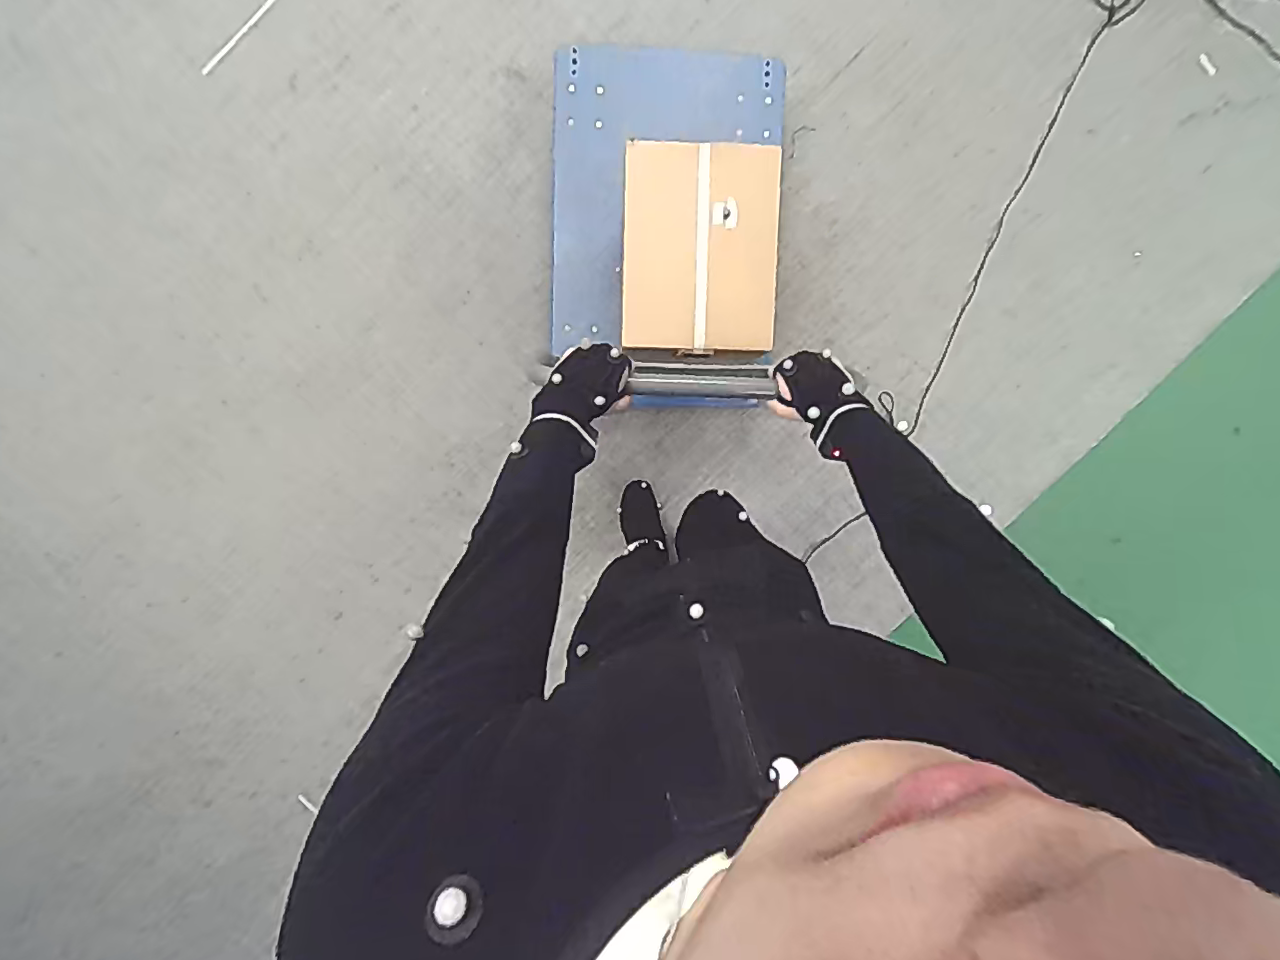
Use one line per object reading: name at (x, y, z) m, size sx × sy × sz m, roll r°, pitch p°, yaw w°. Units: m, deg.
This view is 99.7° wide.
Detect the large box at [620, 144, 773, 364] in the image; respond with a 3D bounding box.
large box at (0.113, -0.490, 1.257) m, size 0.320 × 0.320 × 0.408 m, roll 1°, pitch 94°, yaw -3°
